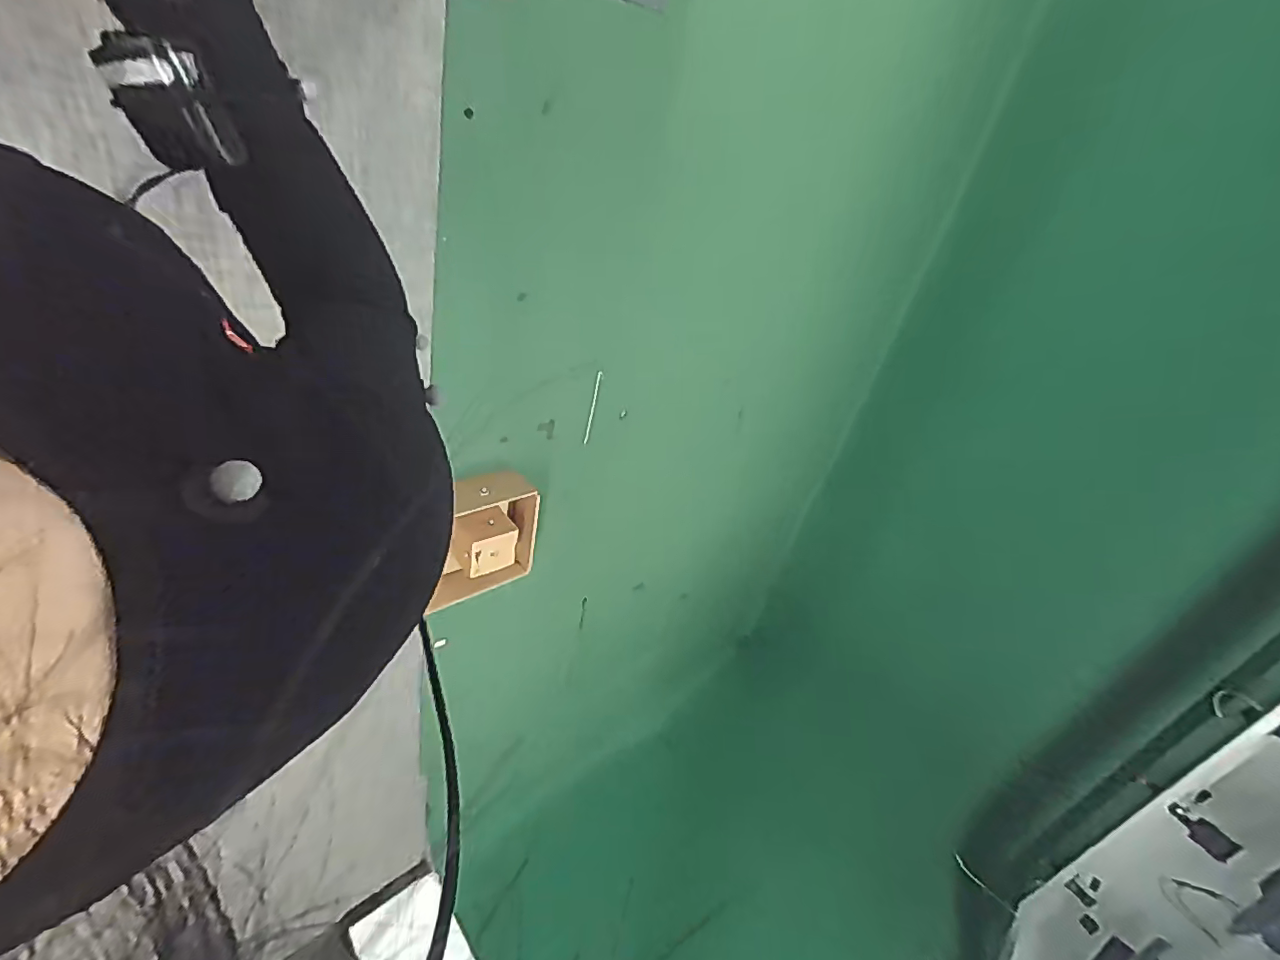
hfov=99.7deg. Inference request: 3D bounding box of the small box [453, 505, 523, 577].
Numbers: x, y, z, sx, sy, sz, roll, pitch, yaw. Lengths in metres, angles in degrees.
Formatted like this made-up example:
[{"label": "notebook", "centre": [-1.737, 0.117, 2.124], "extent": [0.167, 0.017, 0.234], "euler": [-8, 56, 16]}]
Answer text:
[{"label": "small box", "centre": [-0.543, 0.209, 1.921], "extent": [0.179, 0.176, 0.168], "euler": [-16, 133, -40]}]
